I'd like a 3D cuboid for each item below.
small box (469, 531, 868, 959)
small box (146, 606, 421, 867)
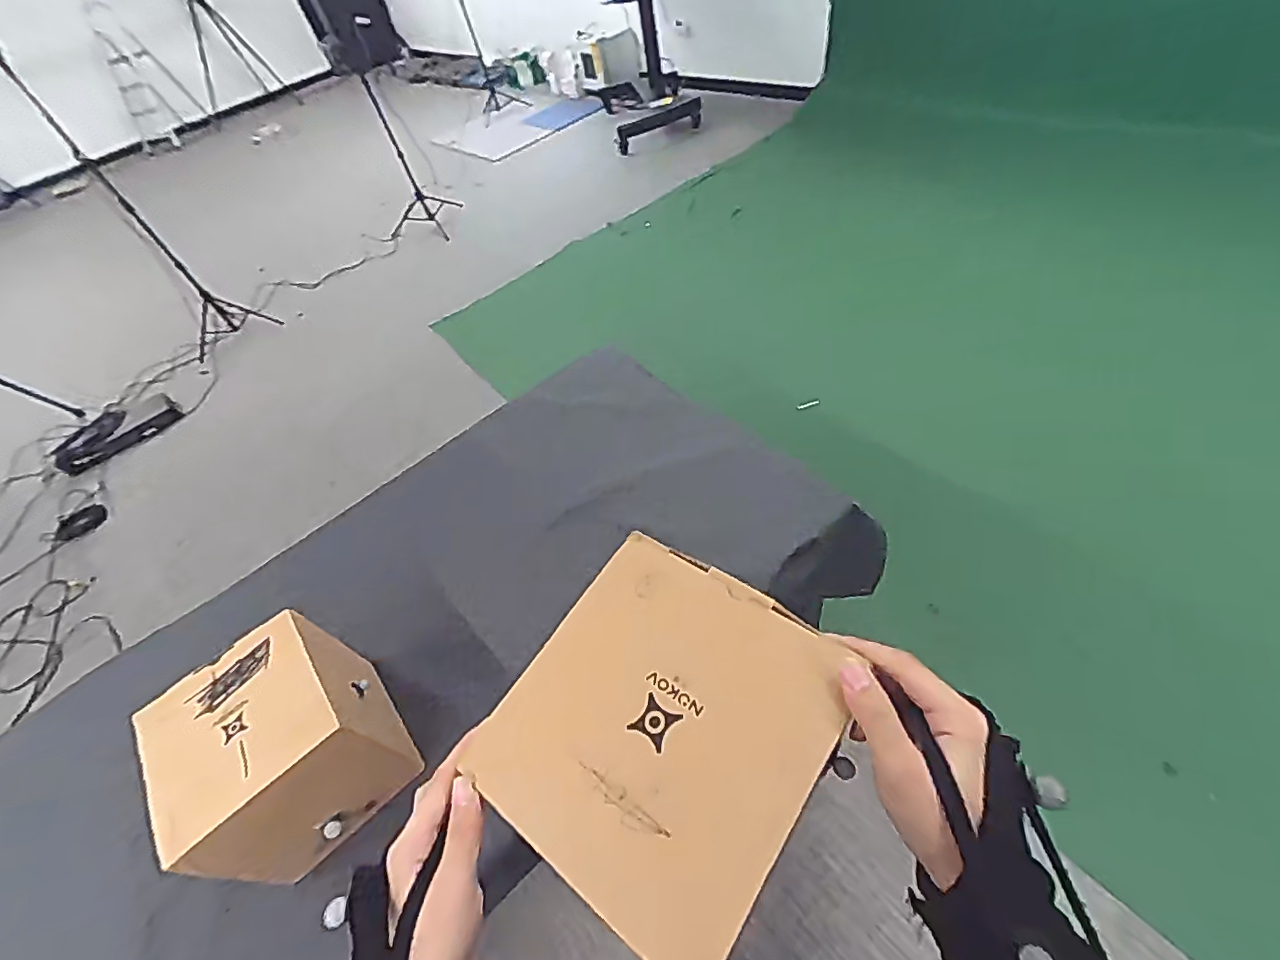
[{"bbox_3d":[0.030,0.171,0.366,0.168,0.176,0.179,25,67,29],"label":"small box"},{"bbox_3d":[-0.376,0.280,0.588,0.168,0.176,0.179,-39,53,-19],"label":"small box"}]
